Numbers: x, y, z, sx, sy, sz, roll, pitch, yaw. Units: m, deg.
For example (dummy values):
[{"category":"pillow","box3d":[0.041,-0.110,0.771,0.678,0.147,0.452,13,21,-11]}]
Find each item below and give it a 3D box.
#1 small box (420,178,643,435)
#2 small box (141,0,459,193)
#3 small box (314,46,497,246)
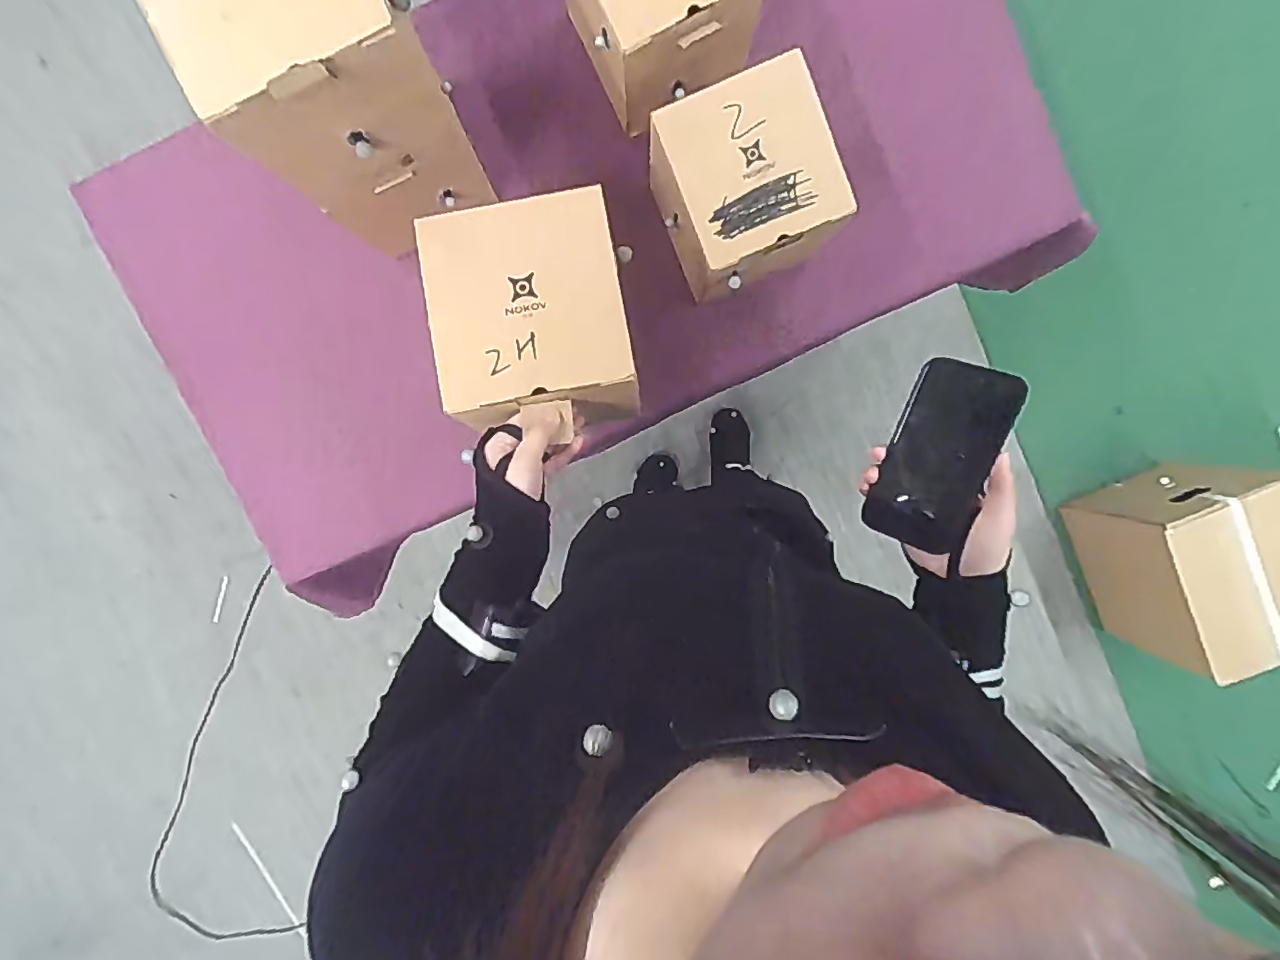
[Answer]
[{"category":"small box","box3d":[-0.091,-0.152,0.531,0.168,0.176,0.179,-10,86,2]},{"category":"small box","box3d":[-0.287,-0.384,0.475,0.168,0.176,0.179,-24,96,2]},{"category":"small box","box3d":[-0.293,-0.401,0.638,0.168,0.176,0.179,-25,95,2]}]
